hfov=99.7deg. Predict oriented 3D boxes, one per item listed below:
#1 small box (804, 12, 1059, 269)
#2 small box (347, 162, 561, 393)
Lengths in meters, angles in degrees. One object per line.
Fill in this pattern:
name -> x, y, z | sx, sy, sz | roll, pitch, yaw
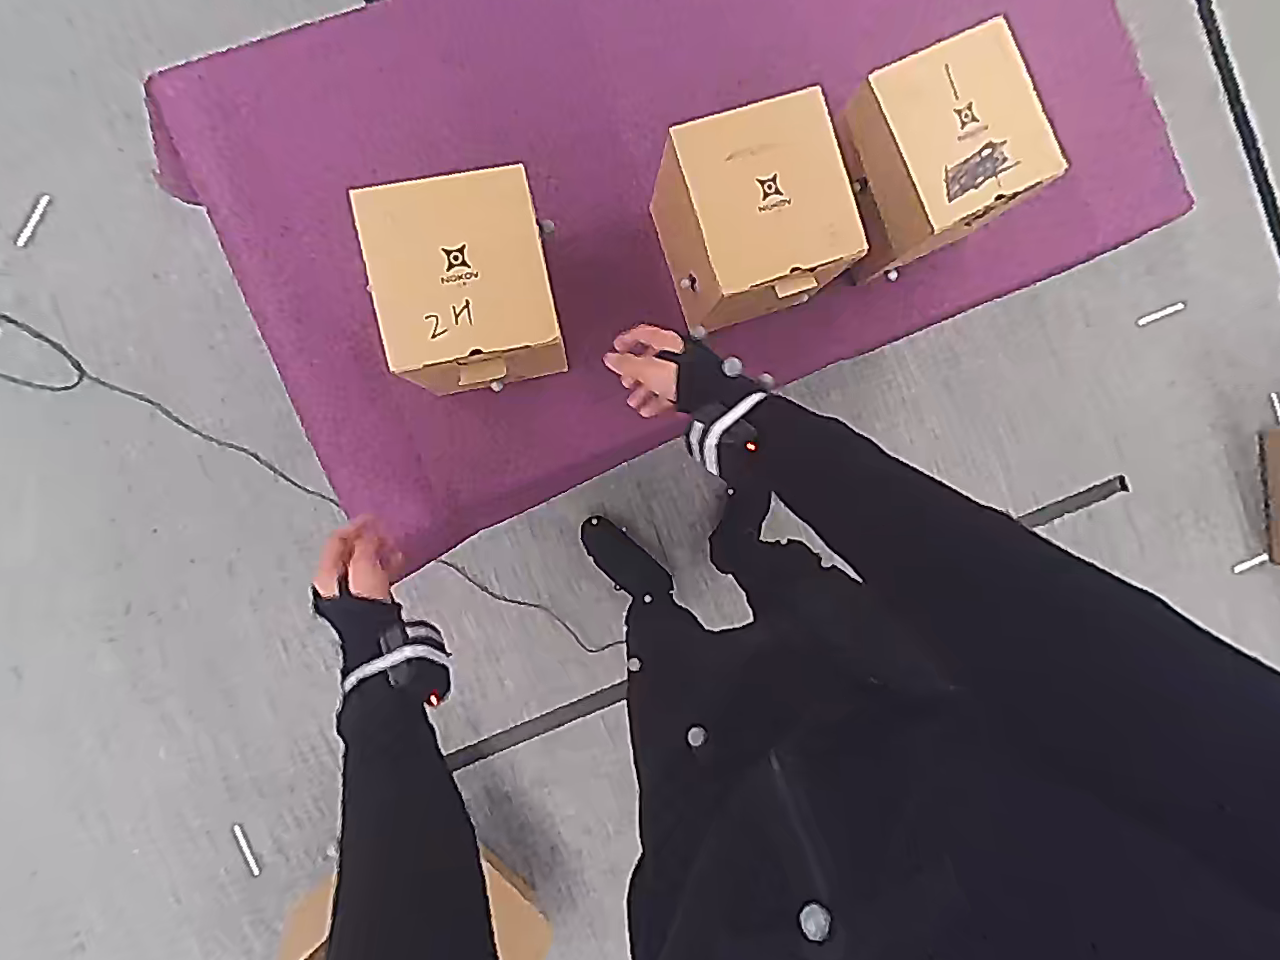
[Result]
small box -> 0.324, -0.373, 0.636 | 0.168, 0.176, 0.179 | -26, 93, -4
small box -> -0.185, -0.205, 0.590 | 0.168, 0.176, 0.179 | -12, 93, -5
